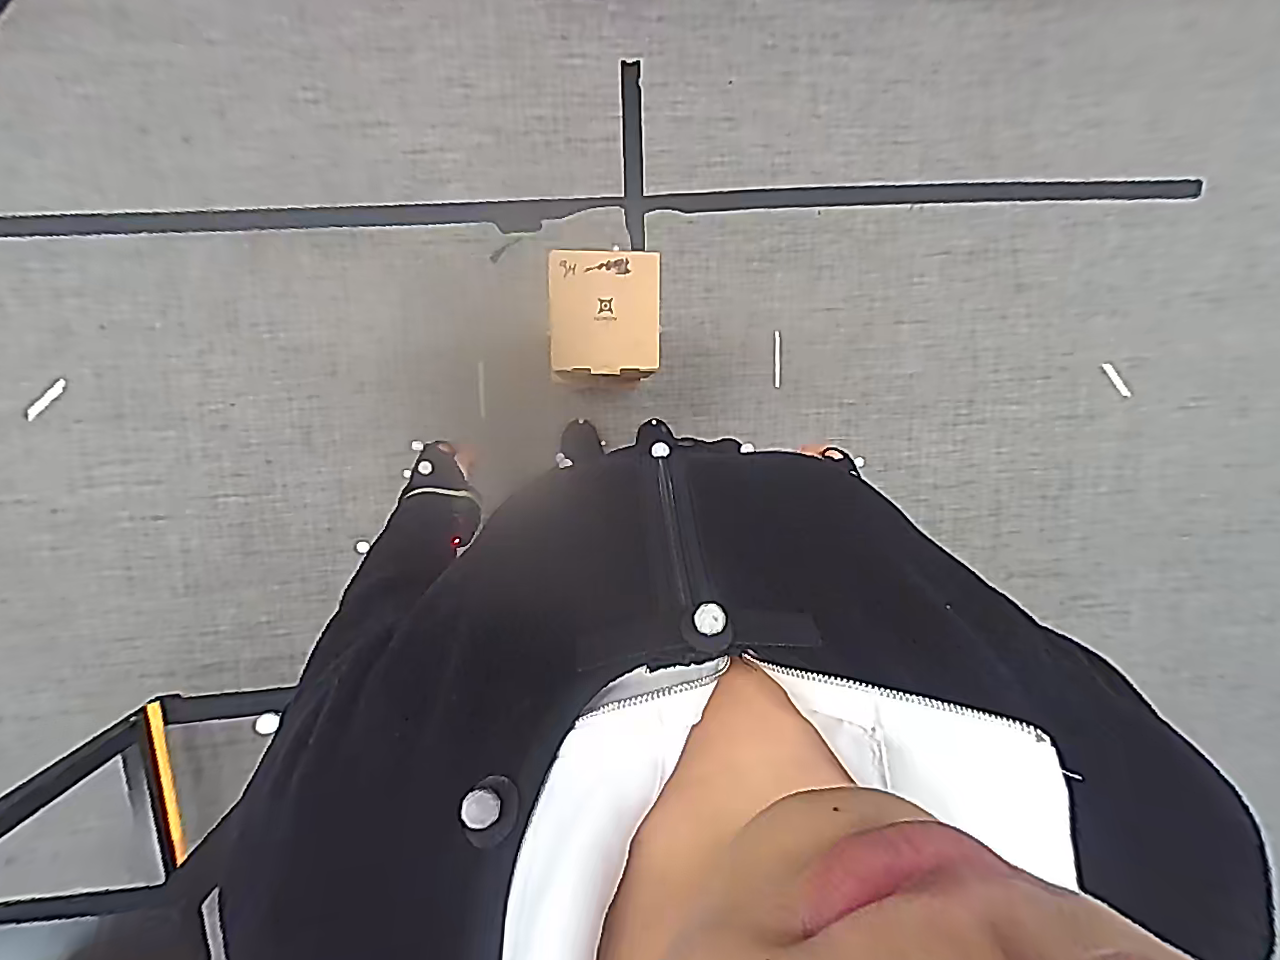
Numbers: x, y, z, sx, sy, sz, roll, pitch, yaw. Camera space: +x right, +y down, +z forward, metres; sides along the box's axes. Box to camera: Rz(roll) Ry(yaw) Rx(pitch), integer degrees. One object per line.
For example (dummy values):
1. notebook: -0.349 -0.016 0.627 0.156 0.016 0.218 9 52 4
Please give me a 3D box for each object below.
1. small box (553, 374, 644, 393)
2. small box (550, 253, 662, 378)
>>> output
1. small box: -0.077 -0.263 1.042 0.168 0.176 0.179 3 98 -4
2. small box: -0.054 -0.256 0.879 0.168 0.176 0.179 -1 98 -4
